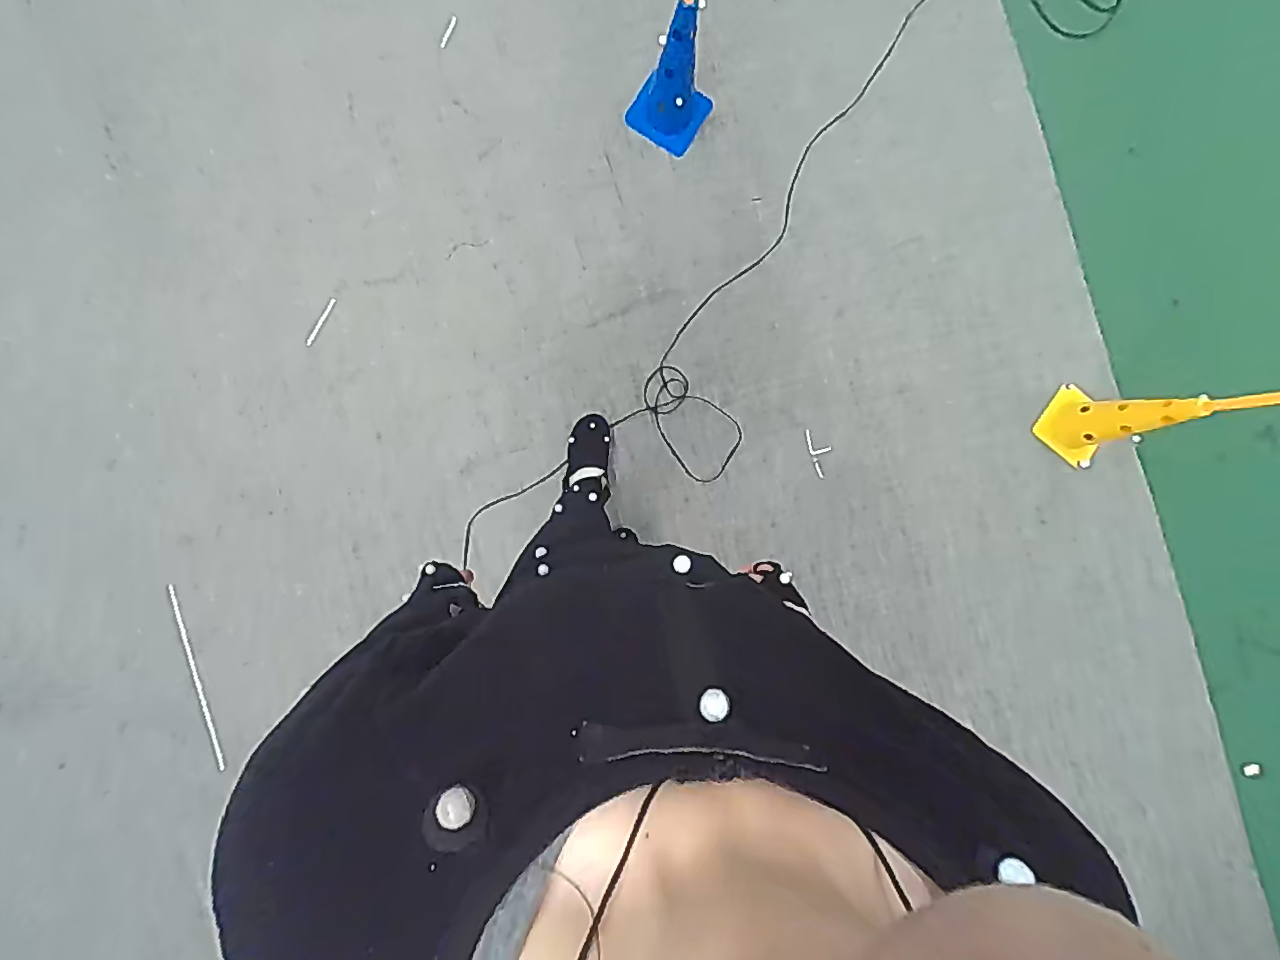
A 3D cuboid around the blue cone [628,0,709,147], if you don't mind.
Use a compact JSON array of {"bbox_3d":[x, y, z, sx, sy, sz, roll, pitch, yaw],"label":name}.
[{"bbox_3d":[0.089,-1.055,1.364,0.193,0.380,0.192,29,87,-2],"label":"blue cone"}]
